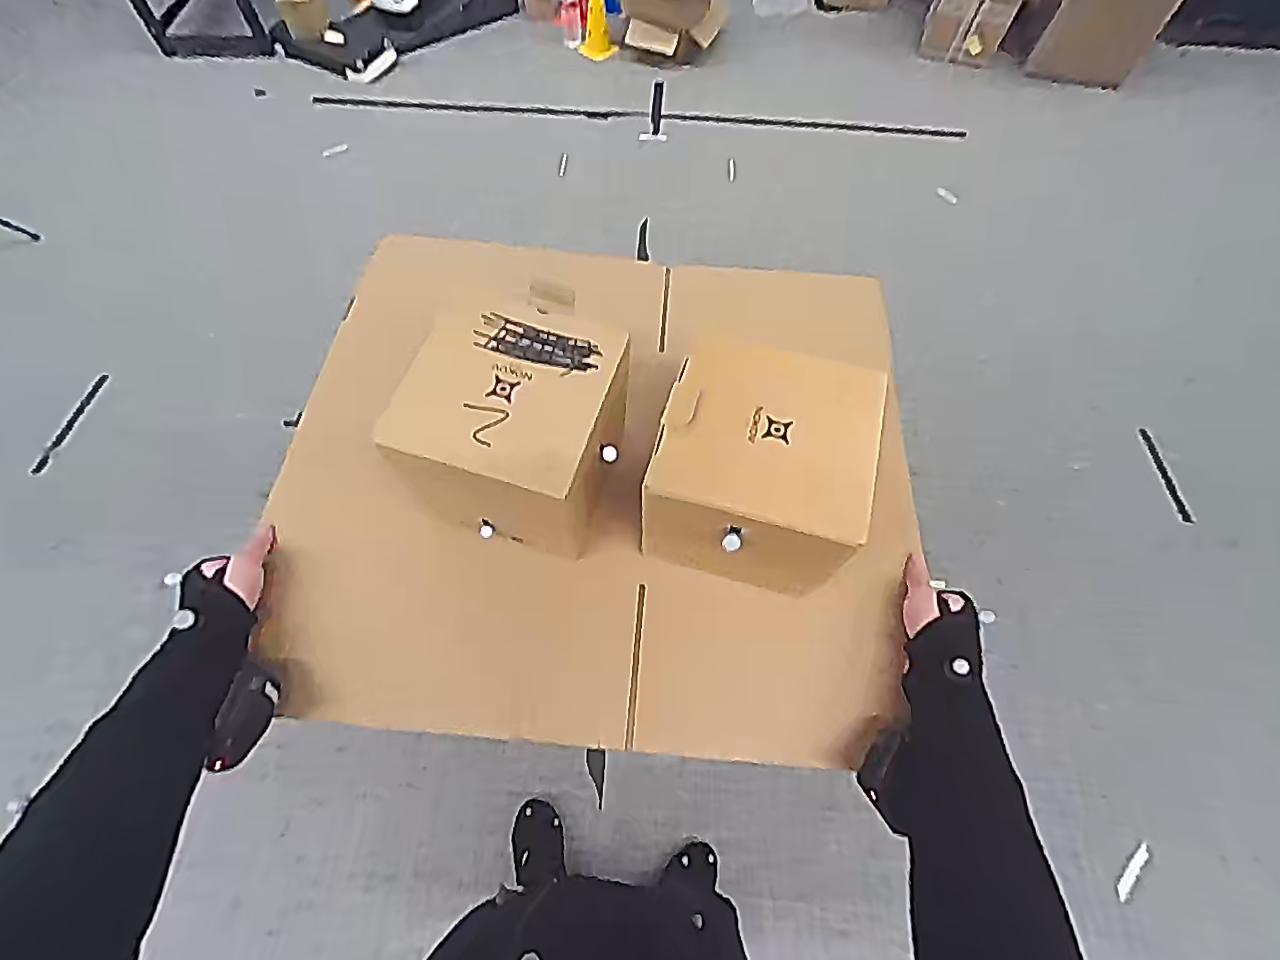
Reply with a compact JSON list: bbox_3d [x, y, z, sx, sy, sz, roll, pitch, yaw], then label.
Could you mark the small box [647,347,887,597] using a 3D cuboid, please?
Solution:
[{"bbox_3d":[0.113,0.003,0.526,0.179,0.176,0.168,14,65,9],"label":"small box"}]
